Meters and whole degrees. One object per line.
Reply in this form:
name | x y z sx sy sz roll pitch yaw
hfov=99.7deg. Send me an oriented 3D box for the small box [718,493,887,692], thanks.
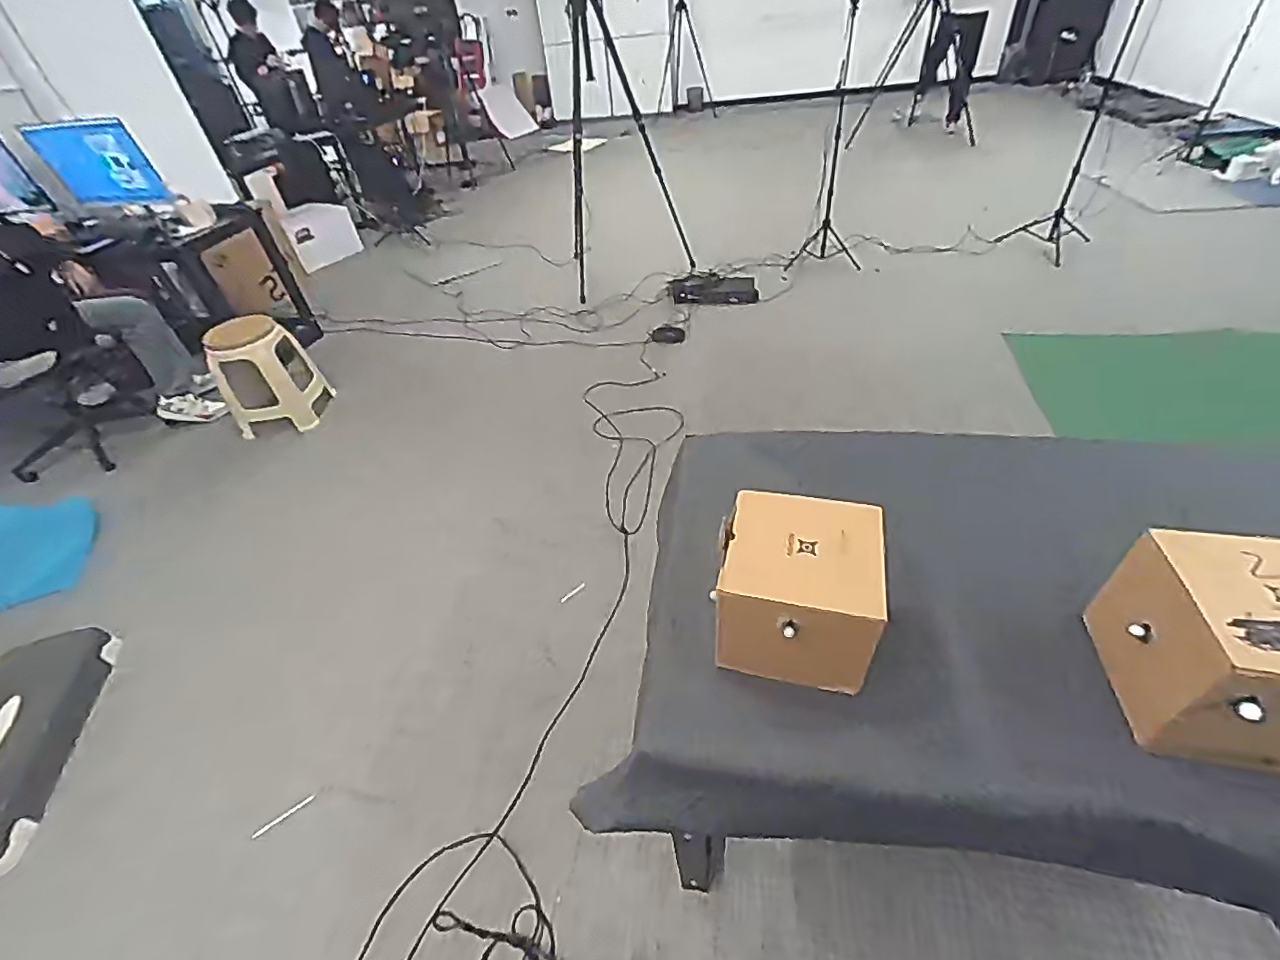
small box | 0.196 0.140 0.675 0.179 0.176 0.168 8 44 15
